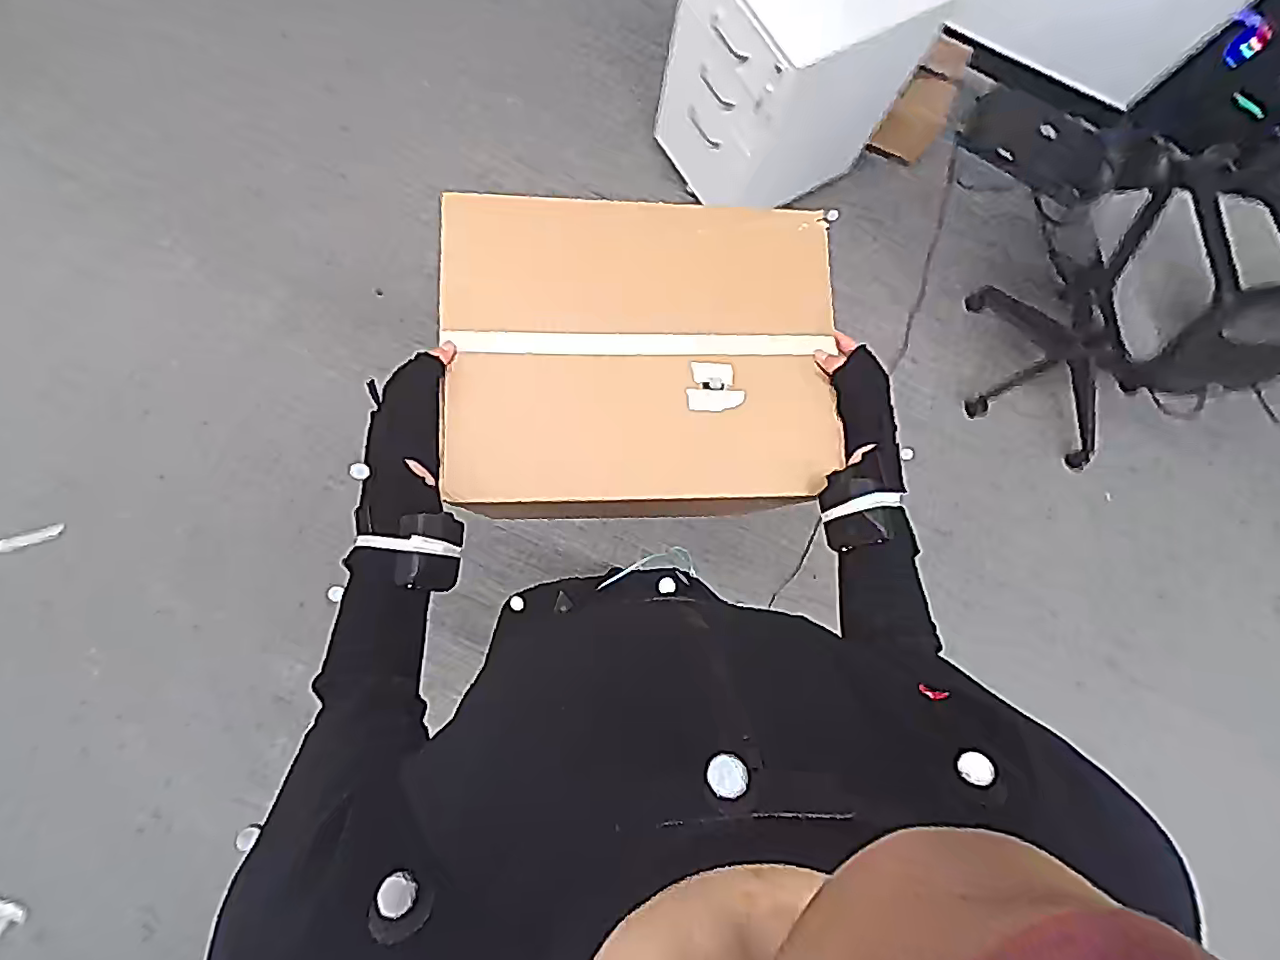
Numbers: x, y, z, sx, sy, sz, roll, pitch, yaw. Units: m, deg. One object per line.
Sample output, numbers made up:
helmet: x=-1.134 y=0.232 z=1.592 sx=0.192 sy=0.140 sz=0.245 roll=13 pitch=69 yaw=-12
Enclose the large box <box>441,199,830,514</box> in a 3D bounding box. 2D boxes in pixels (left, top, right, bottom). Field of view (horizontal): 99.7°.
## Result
large box: x=-0.021 y=-0.127 z=0.710 sx=0.408 sy=0.320 sz=0.320 roll=-2 pitch=84 yaw=-8
